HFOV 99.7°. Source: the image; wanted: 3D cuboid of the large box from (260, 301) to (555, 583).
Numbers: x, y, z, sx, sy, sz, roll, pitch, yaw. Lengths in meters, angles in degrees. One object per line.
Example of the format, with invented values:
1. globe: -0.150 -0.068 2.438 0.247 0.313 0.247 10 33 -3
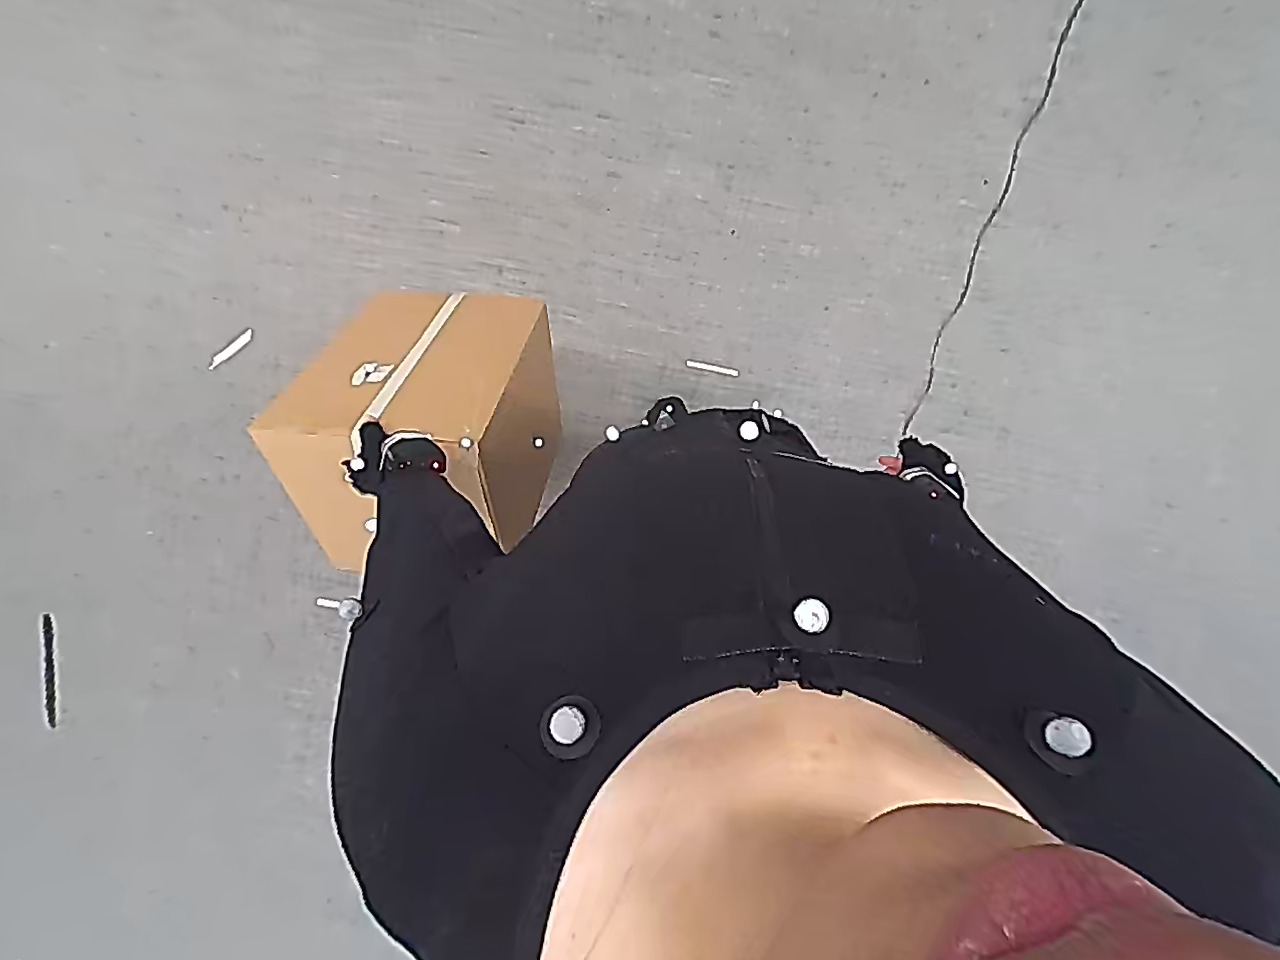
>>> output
1. large box: -0.348 -0.076 0.961 0.320 0.408 0.320 3 135 4
